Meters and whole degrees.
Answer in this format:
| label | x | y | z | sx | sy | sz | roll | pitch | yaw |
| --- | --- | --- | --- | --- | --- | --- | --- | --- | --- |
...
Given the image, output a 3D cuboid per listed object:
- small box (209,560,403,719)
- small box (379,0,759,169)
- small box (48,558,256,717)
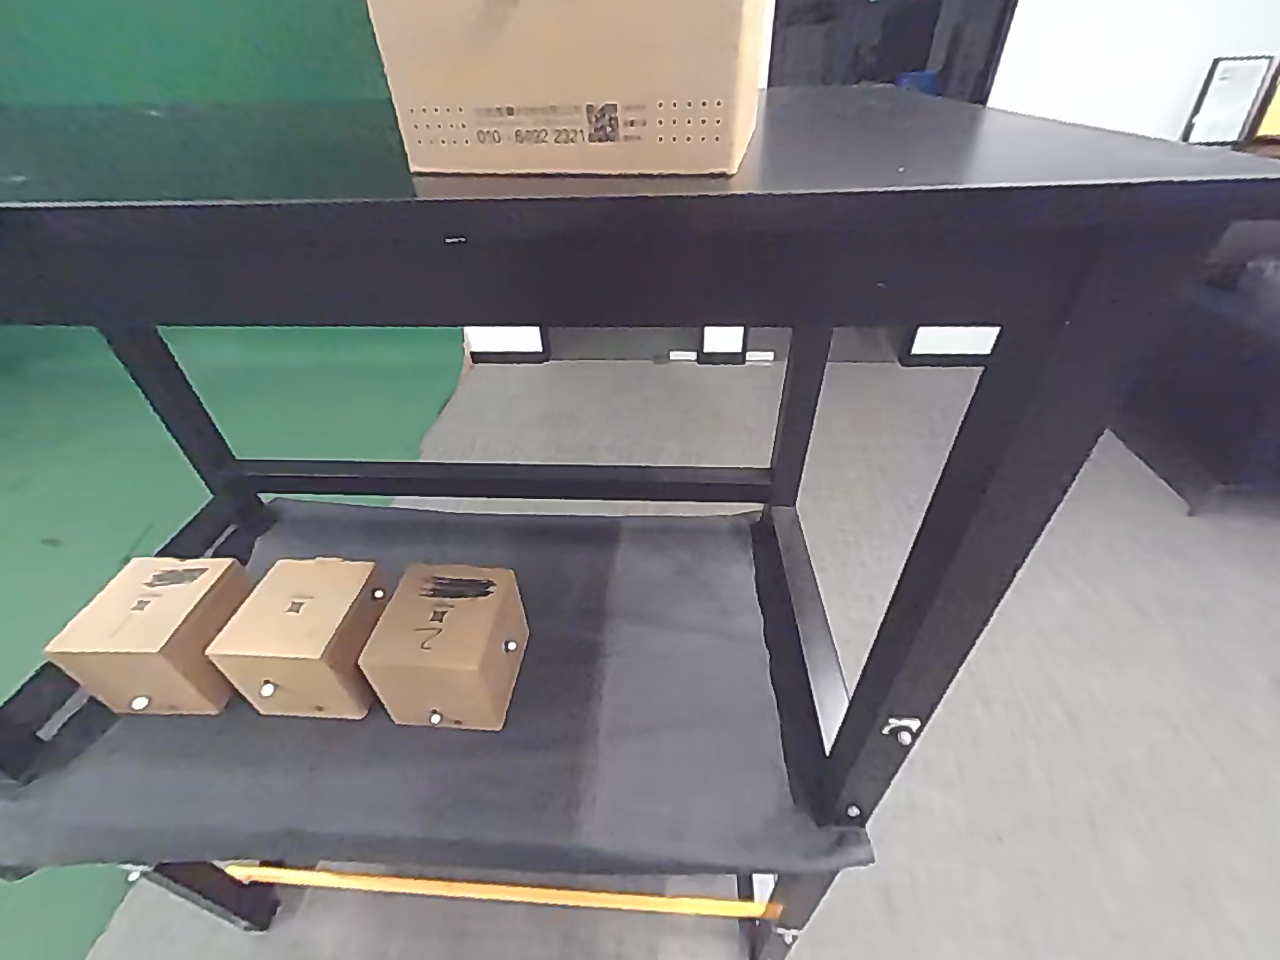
| label | x | y | z | sx | sy | sz | roll | pitch | yaw |
| --- | --- | --- | --- | --- | --- | --- | --- | --- | --- |
| small box | -0.493 | 0.246 | 0.835 | 0.168 | 0.176 | 0.179 | 1 | 38 | 4 |
| small box | -0.024 | -0.268 | 0.279 | 0.168 | 0.176 | 0.179 | 7 | 39 | 11 |
| small box | -0.719 | 0.243 | 0.844 | 0.168 | 0.176 | 0.179 | -1 | 38 | 2 |
